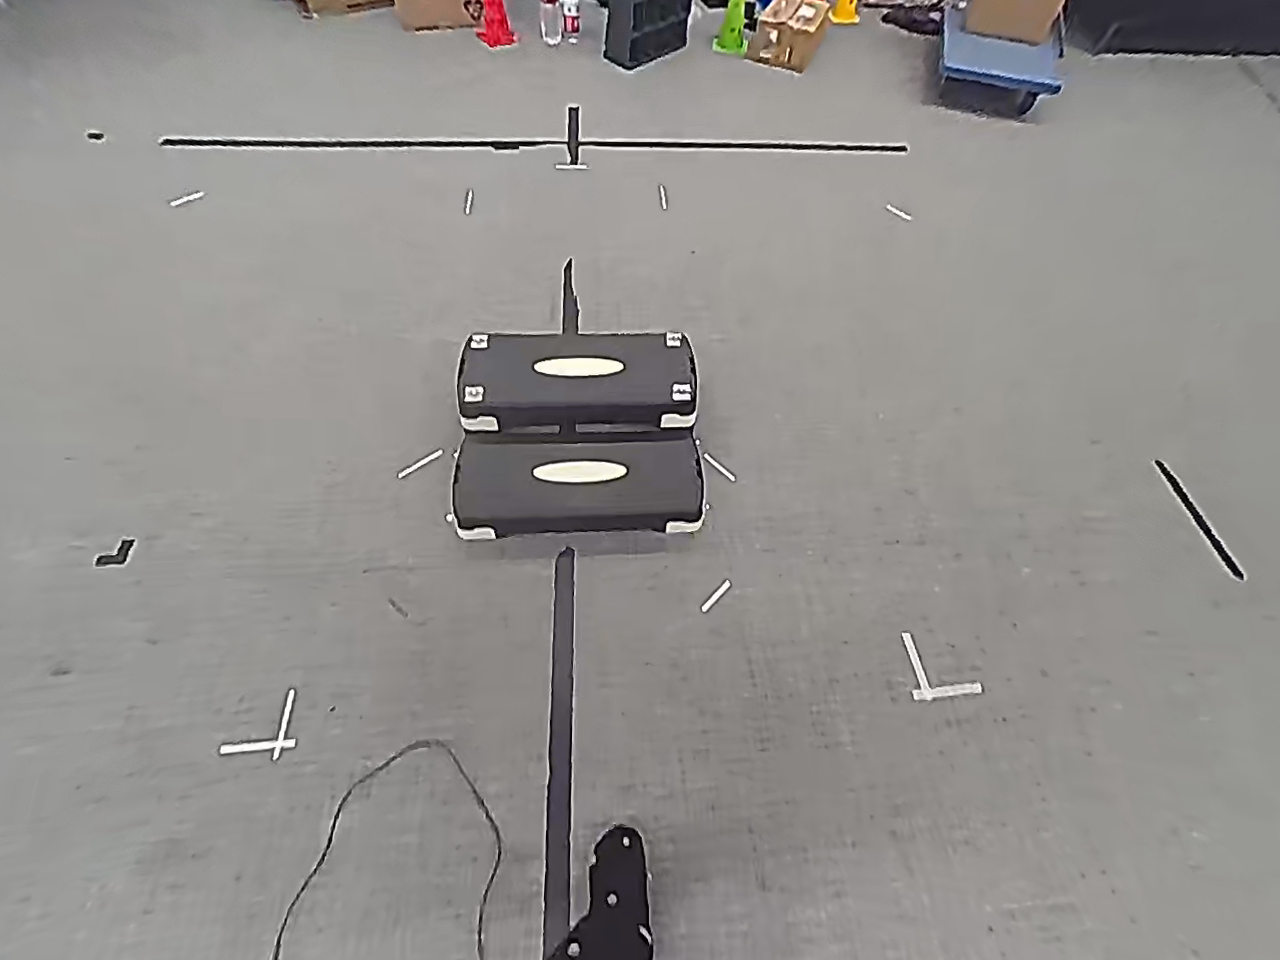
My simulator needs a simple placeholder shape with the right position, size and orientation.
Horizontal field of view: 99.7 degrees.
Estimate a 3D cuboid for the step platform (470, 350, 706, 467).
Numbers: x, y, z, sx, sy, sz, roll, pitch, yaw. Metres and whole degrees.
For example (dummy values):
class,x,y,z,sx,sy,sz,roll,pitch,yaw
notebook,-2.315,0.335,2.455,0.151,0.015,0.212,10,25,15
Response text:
class,x,y,z,sx,sy,sz,roll,pitch,yaw
step platform,-0.146,-0.215,1.608,0.684,0.204,0.286,2,57,-2
